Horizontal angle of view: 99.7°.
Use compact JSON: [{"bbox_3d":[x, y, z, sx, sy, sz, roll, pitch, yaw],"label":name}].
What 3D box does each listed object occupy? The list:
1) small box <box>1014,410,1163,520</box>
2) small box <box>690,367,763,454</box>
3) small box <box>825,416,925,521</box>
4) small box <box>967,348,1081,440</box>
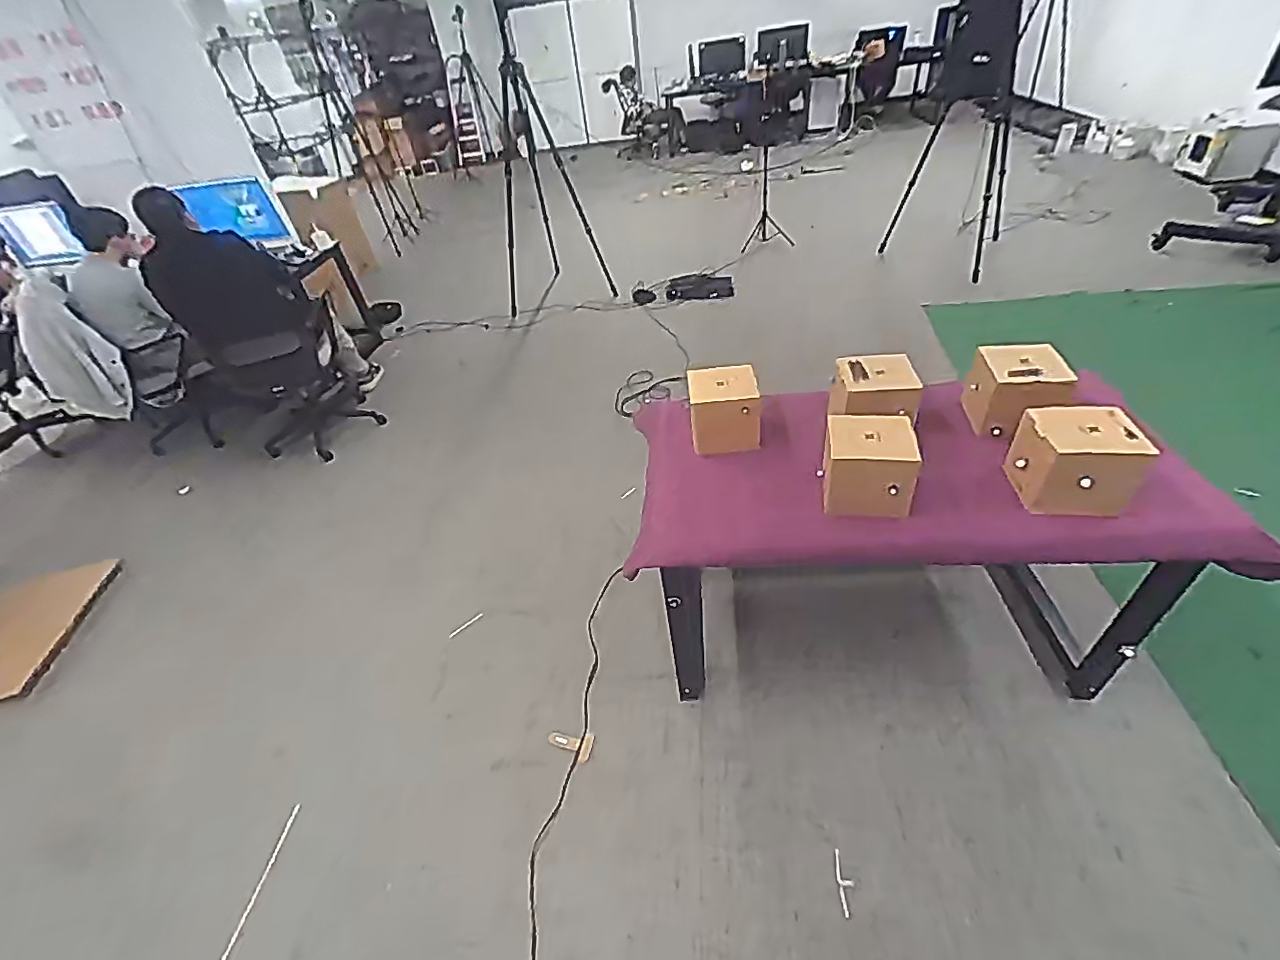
[{"bbox_3d":[0.917,-0.031,1.132,0.179,0.176,0.168,0,41,13],"label":"small box"},{"bbox_3d":[0.230,-0.182,1.444,0.179,0.176,0.168,-4,41,5],"label":"small box"},{"bbox_3d":[0.515,-0.025,1.207,0.179,0.176,0.168,2,41,15],"label":"small box"},{"bbox_3d":[0.936,-0.209,1.337,0.168,0.176,0.179,2,41,13],"label":"small box"}]
